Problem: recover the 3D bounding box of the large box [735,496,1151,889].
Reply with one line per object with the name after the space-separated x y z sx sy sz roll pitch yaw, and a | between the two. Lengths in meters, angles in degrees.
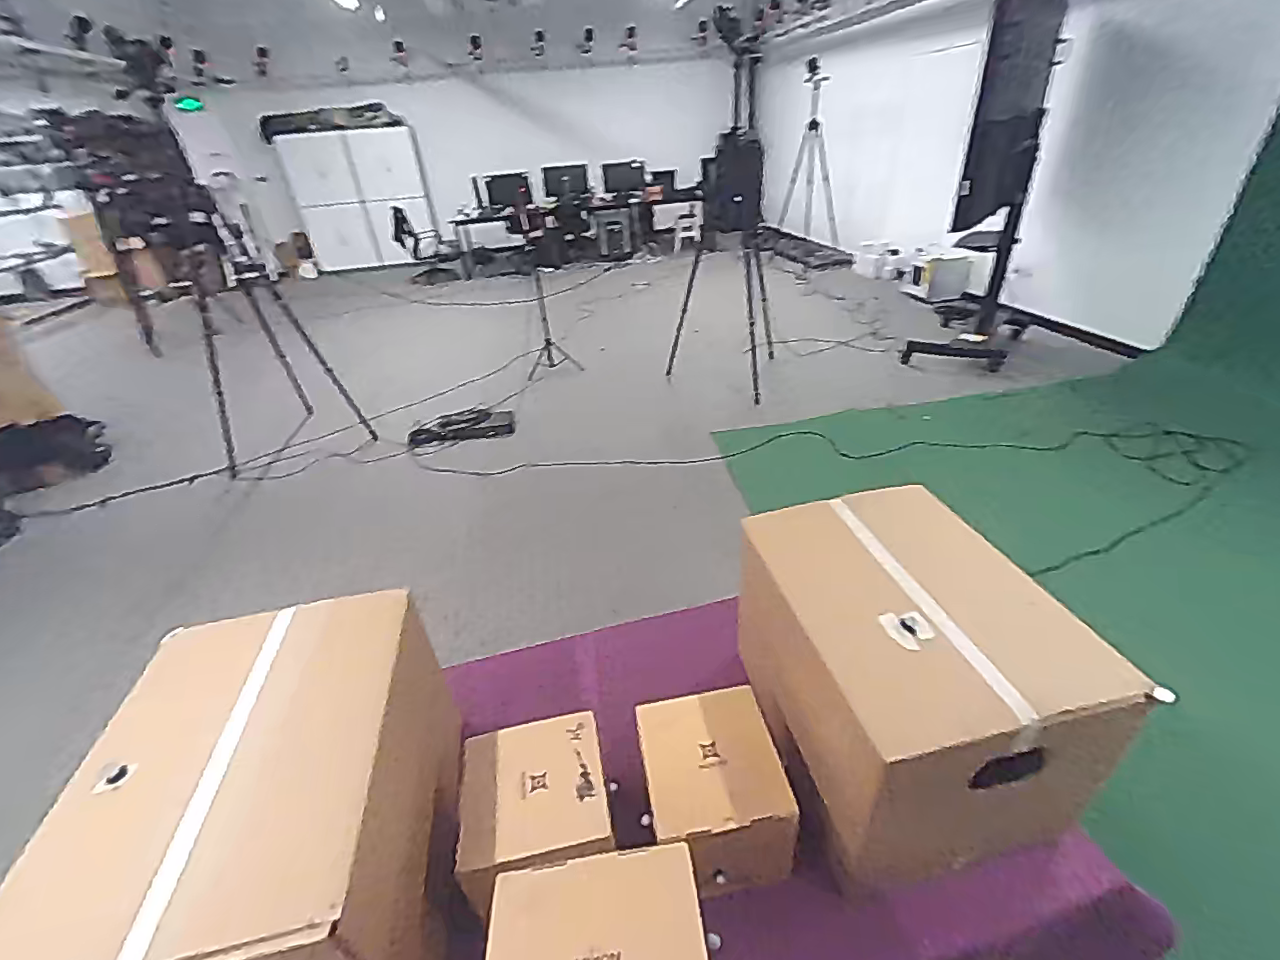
0.357 0.275 0.790 0.320 0.320 0.408 -9 34 -7 | large box
